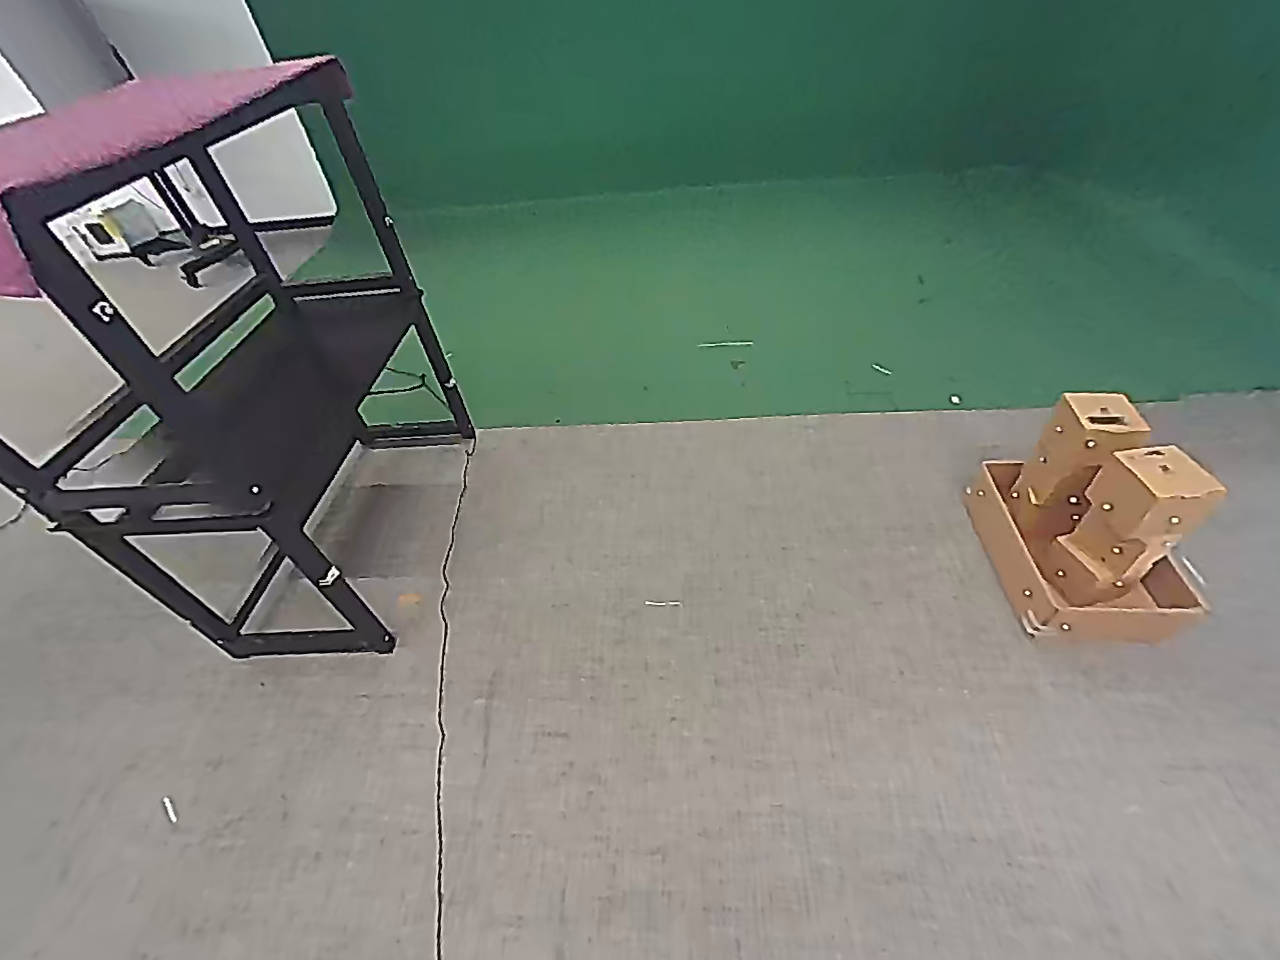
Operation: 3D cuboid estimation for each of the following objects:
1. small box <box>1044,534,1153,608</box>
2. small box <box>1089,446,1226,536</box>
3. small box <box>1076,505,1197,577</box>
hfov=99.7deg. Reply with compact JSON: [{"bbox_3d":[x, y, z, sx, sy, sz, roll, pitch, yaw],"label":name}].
[{"bbox_3d":[1.401,0.274,1.672,0.179,0.176,0.168,-12,44,-5],"label":"small box"},{"bbox_3d":[1.372,0.036,1.451,0.168,0.176,0.179,-7,45,2],"label":"small box"},{"bbox_3d":[1.416,0.152,1.561,0.179,0.176,0.168,-20,45,-12],"label":"small box"}]
